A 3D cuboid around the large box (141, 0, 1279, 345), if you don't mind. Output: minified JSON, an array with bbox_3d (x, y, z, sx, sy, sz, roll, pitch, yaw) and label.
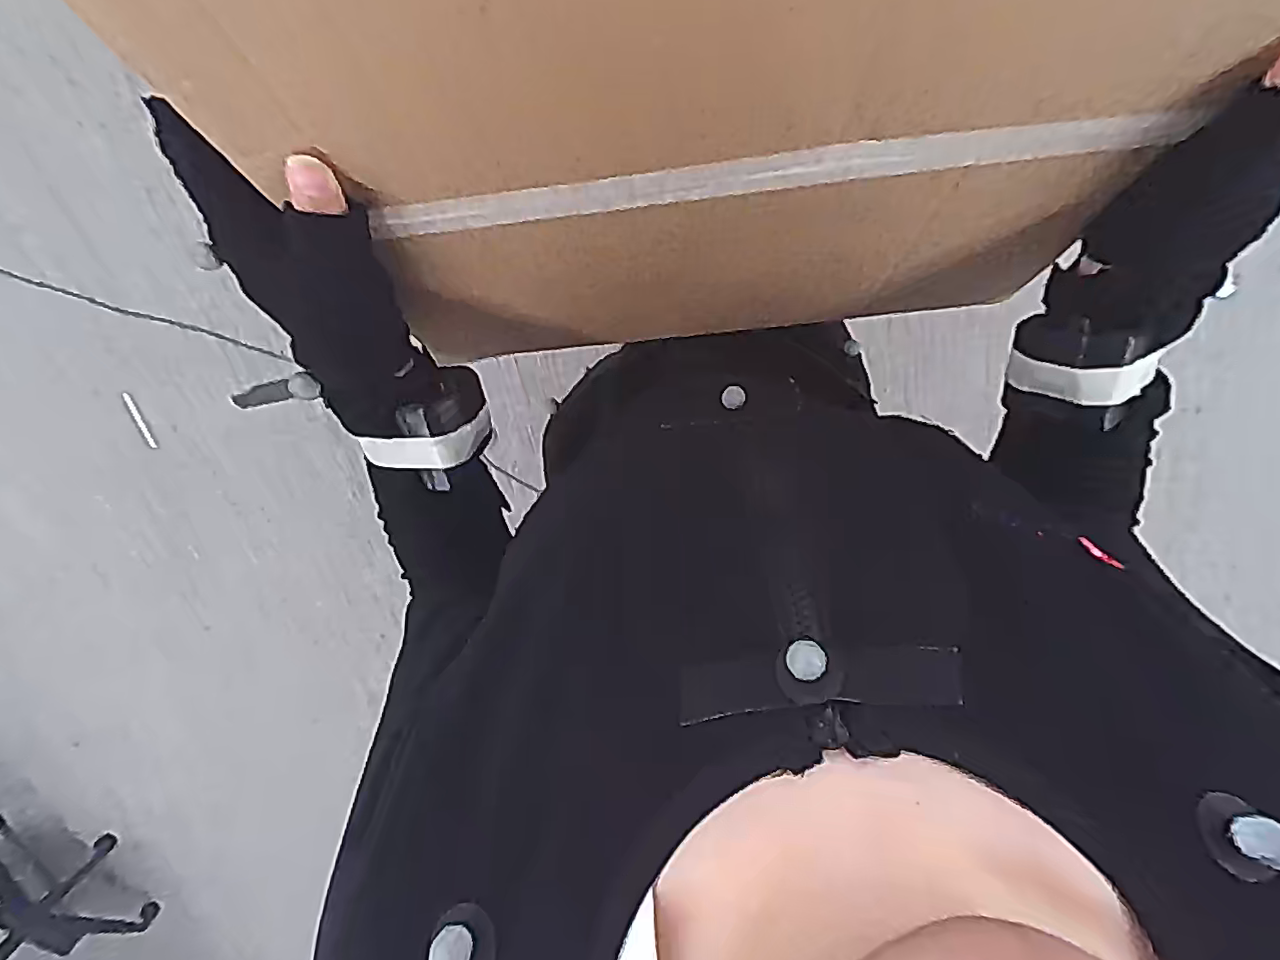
[{"bbox_3d":[0.034,-0.294,0.272,0.408,0.320,0.320,-6,80,2],"label":"large box"}]
